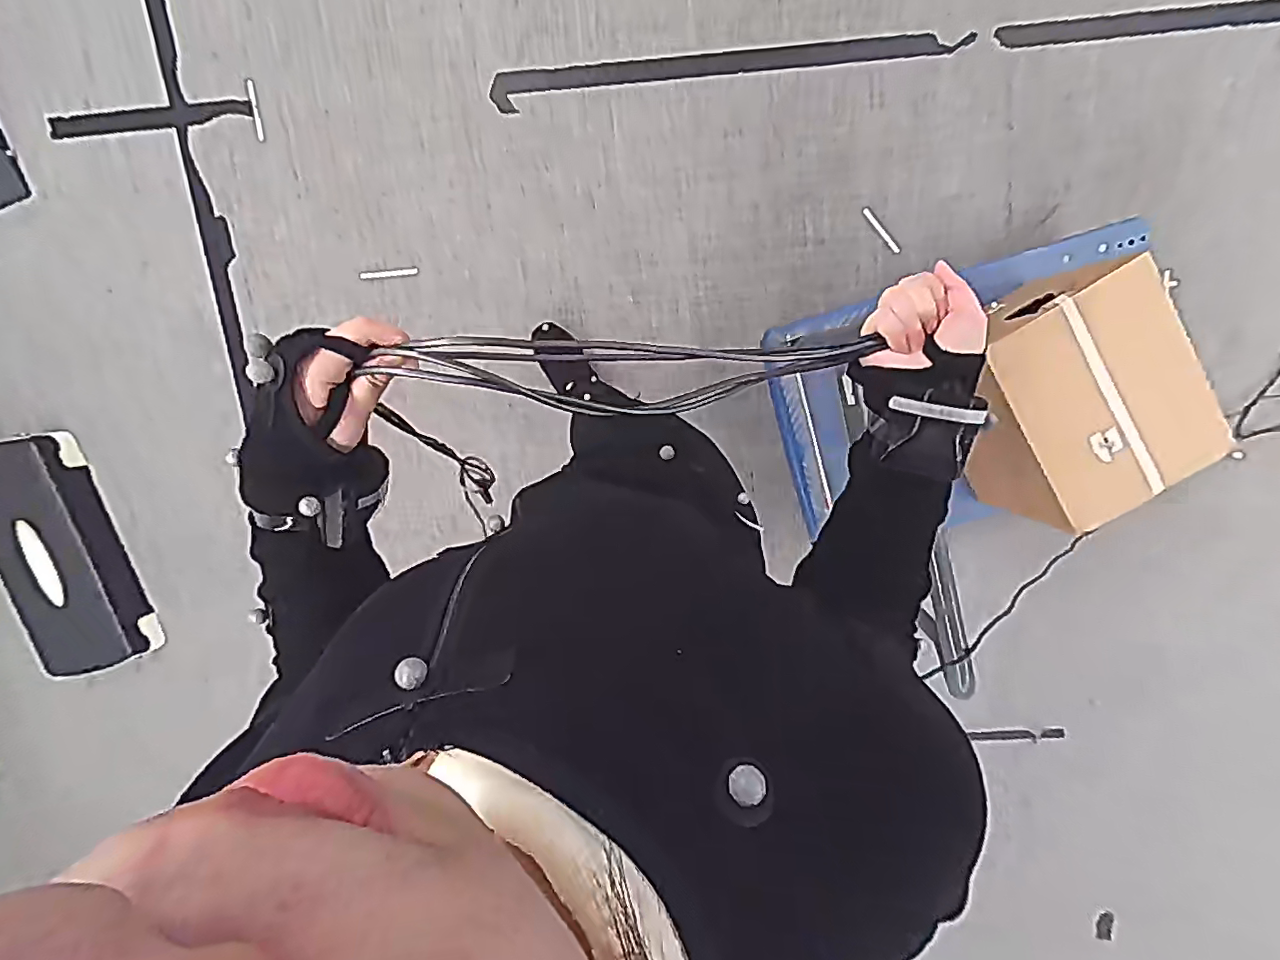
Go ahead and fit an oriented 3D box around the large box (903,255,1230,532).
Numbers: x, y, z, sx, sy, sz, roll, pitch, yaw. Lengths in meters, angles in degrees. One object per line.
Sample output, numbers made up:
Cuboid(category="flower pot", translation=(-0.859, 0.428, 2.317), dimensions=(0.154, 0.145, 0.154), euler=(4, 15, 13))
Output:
Cuboid(category="large box", translation=(0.829, -0.170, 1.105), dimensions=(0.320, 0.320, 0.408), euler=(-32, 99, 7))
